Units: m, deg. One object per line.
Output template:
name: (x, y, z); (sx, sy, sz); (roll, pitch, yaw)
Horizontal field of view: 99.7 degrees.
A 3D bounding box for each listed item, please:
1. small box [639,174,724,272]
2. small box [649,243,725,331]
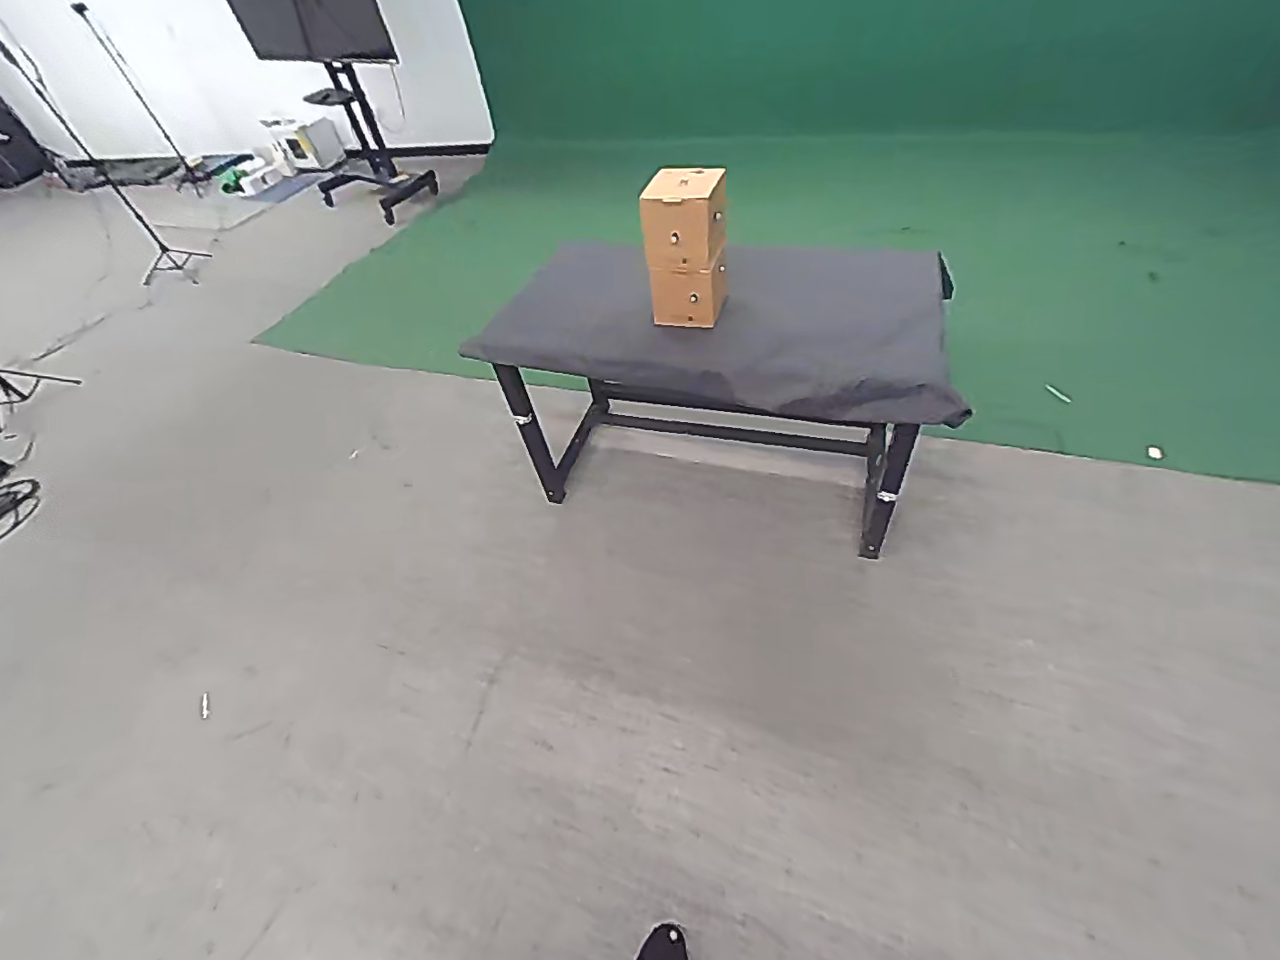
small box: (0.112, -0.634, 1.340); (0.168, 0.176, 0.179); (11, 52, 17)
small box: (0.133, -0.521, 1.457); (0.168, 0.176, 0.179); (9, 50, 16)
